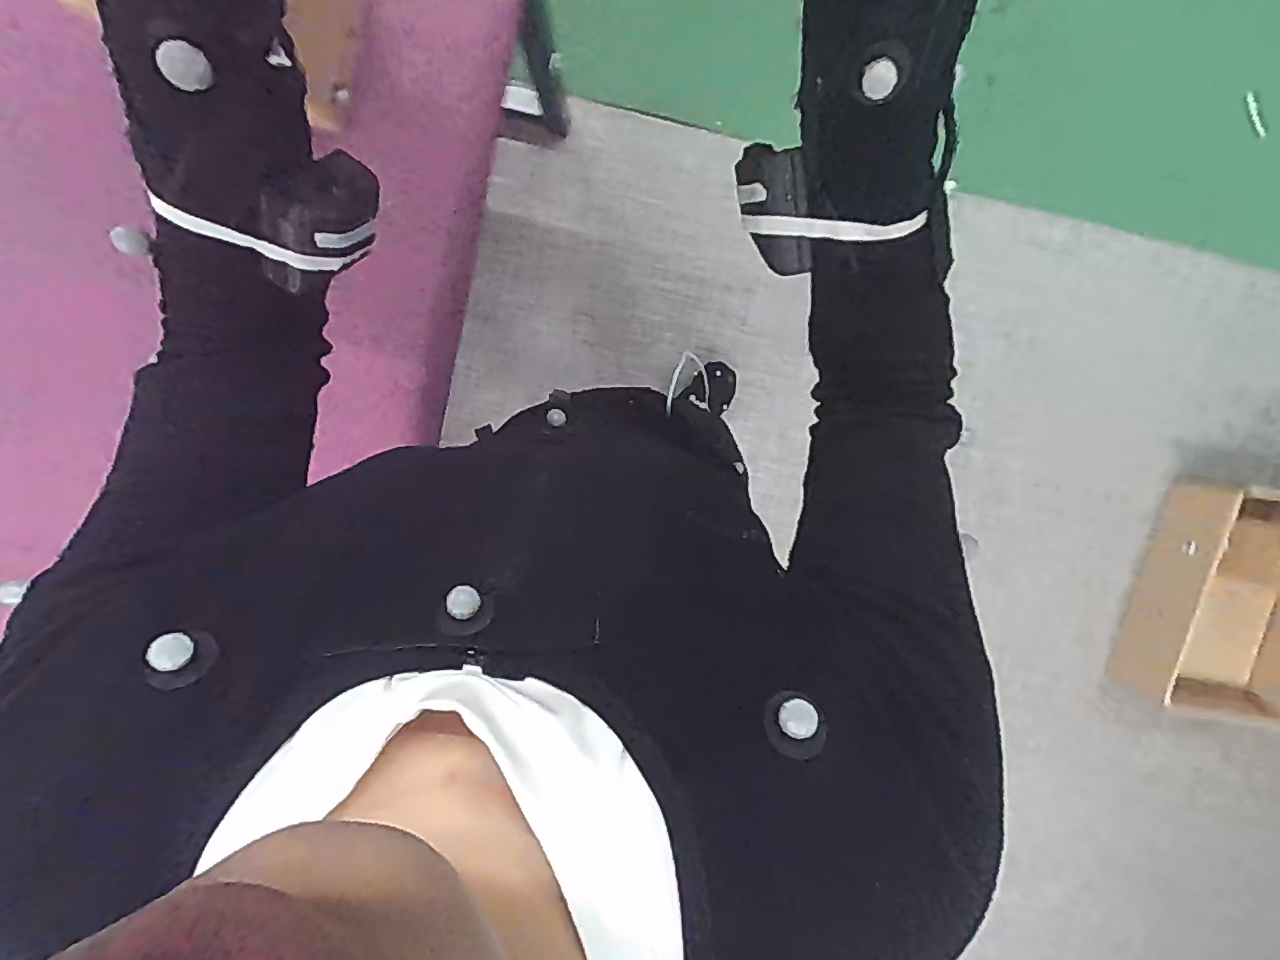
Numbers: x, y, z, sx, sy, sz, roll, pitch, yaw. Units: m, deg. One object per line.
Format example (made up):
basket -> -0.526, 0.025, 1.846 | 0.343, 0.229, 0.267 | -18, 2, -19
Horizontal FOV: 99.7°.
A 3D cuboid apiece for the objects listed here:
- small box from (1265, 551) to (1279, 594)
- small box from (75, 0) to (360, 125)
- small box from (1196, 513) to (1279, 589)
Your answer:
small box -> 1.676, 0.227, 1.277 | 0.179, 0.176, 0.168 | 10, 101, -4
small box -> -0.422, -0.506, 0.556 | 0.179, 0.176, 0.168 | 17, 98, -5
small box -> 1.667, 0.196, 1.437 | 0.179, 0.176, 0.168 | 11, 100, -5
